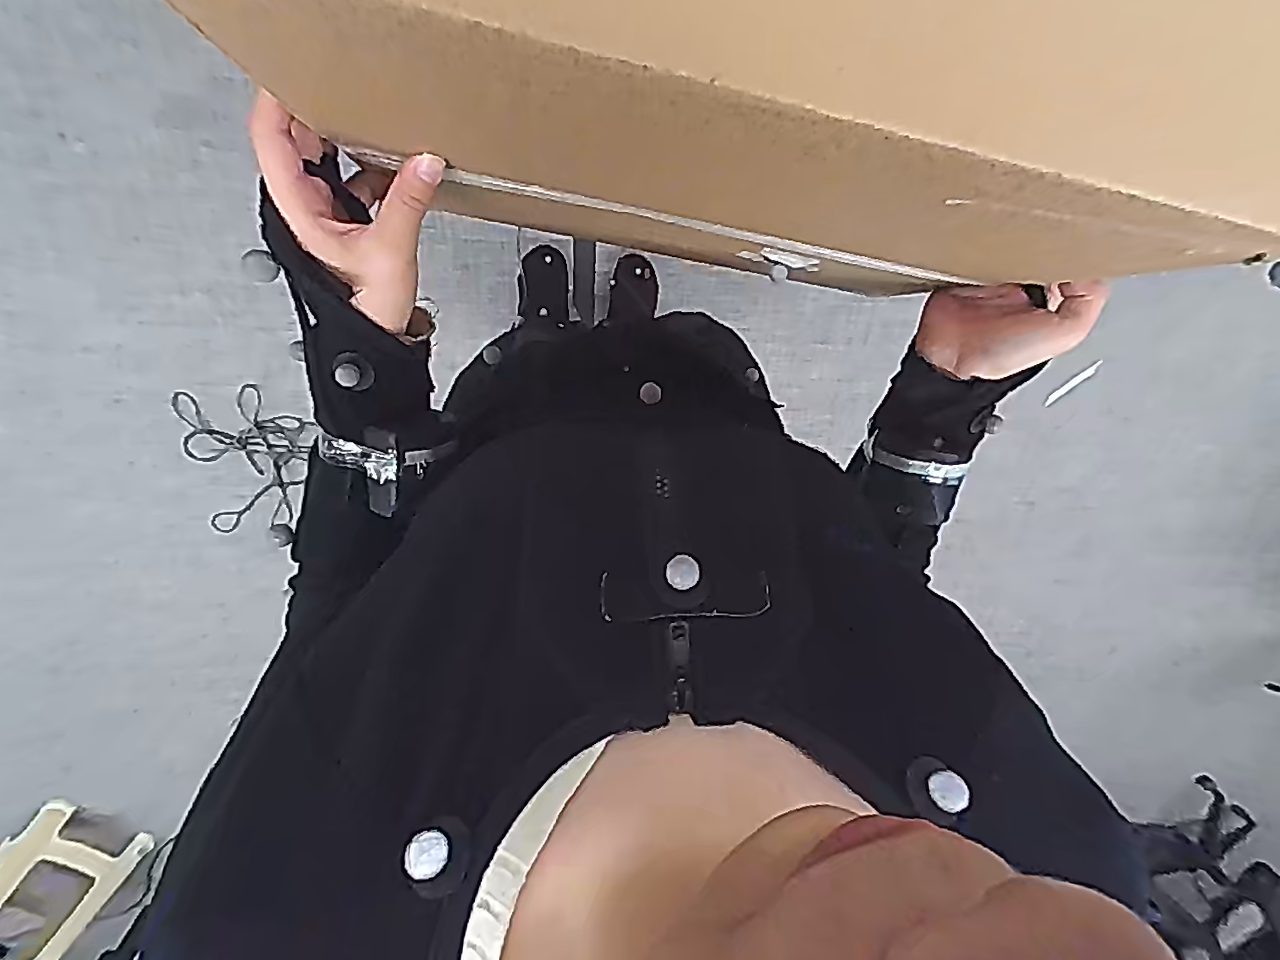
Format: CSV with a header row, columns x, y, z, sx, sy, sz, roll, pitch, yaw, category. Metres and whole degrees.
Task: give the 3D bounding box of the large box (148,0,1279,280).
x,y,z,sx,sy,sz,roll,pitch,yaw,category
0.050,-0.300,0.266,0.408,0.320,0.320,5,106,-11,large box
